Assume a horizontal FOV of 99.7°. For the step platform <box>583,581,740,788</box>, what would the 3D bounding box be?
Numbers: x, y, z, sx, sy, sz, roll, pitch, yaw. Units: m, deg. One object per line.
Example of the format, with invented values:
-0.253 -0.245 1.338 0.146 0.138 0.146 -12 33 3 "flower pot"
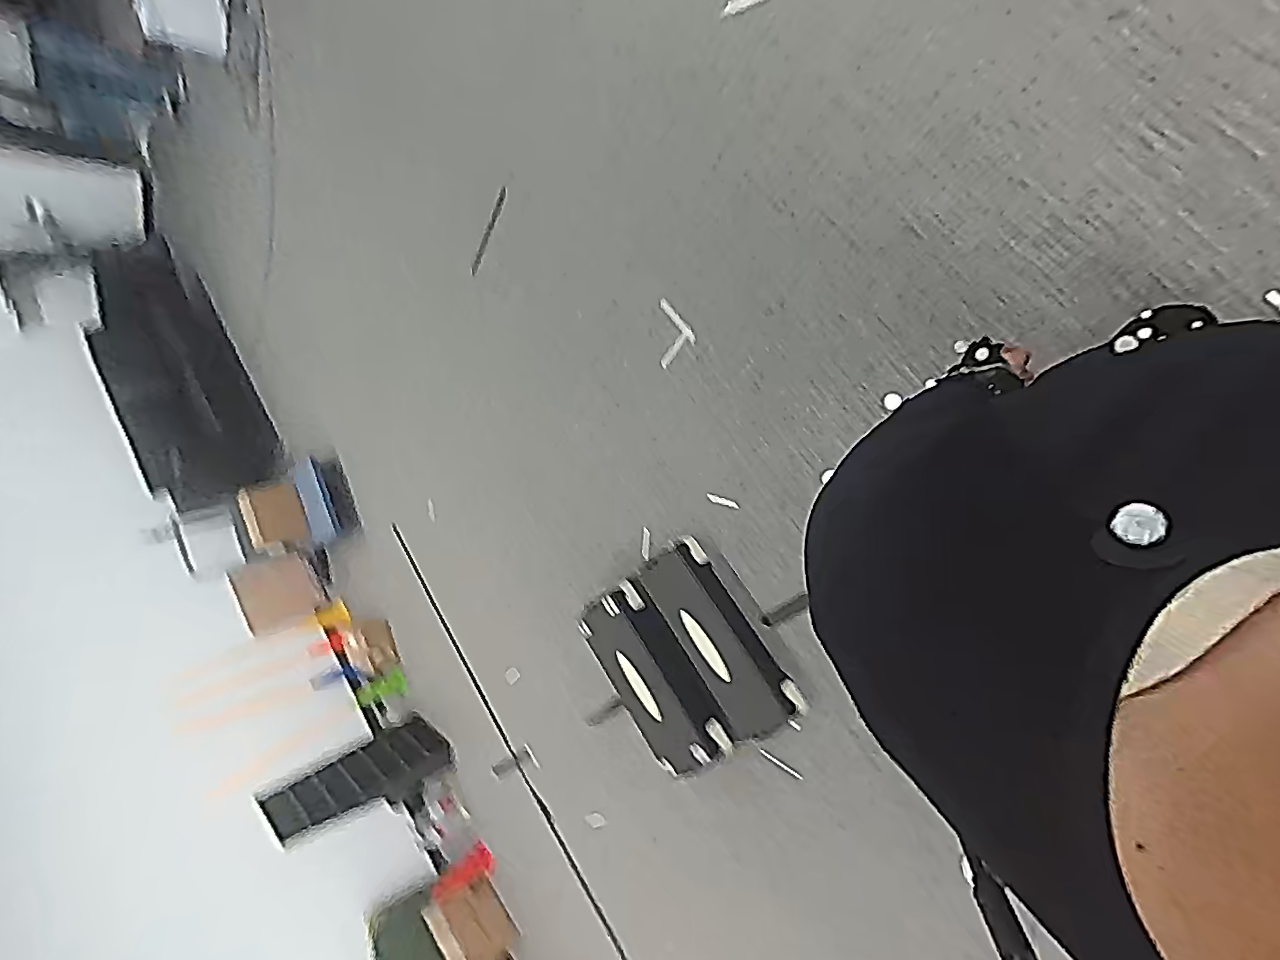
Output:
0.061 0.727 1.937 0.286 0.204 0.684 -40 72 41 "step platform"
